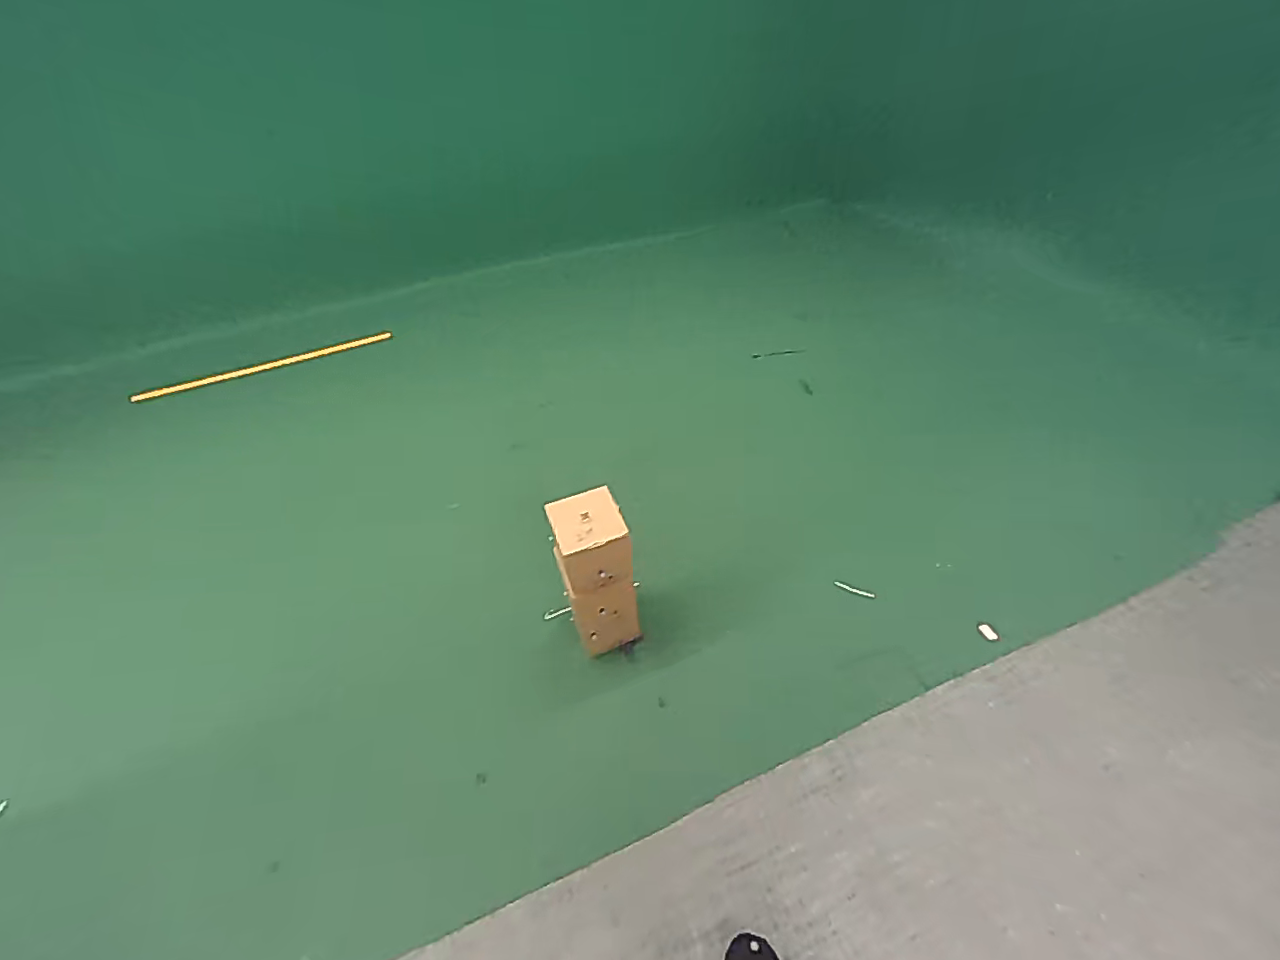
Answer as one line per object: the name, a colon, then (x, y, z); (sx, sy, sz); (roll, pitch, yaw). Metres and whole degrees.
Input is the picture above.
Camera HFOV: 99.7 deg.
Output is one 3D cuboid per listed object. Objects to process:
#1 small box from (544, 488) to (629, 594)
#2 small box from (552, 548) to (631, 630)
small box: (-0.134, 0.154, 1.361); (0.168, 0.176, 0.179); (-17, 47, -13)
small box: (-0.132, 0.275, 1.474); (0.168, 0.176, 0.179); (-18, 47, -14)
